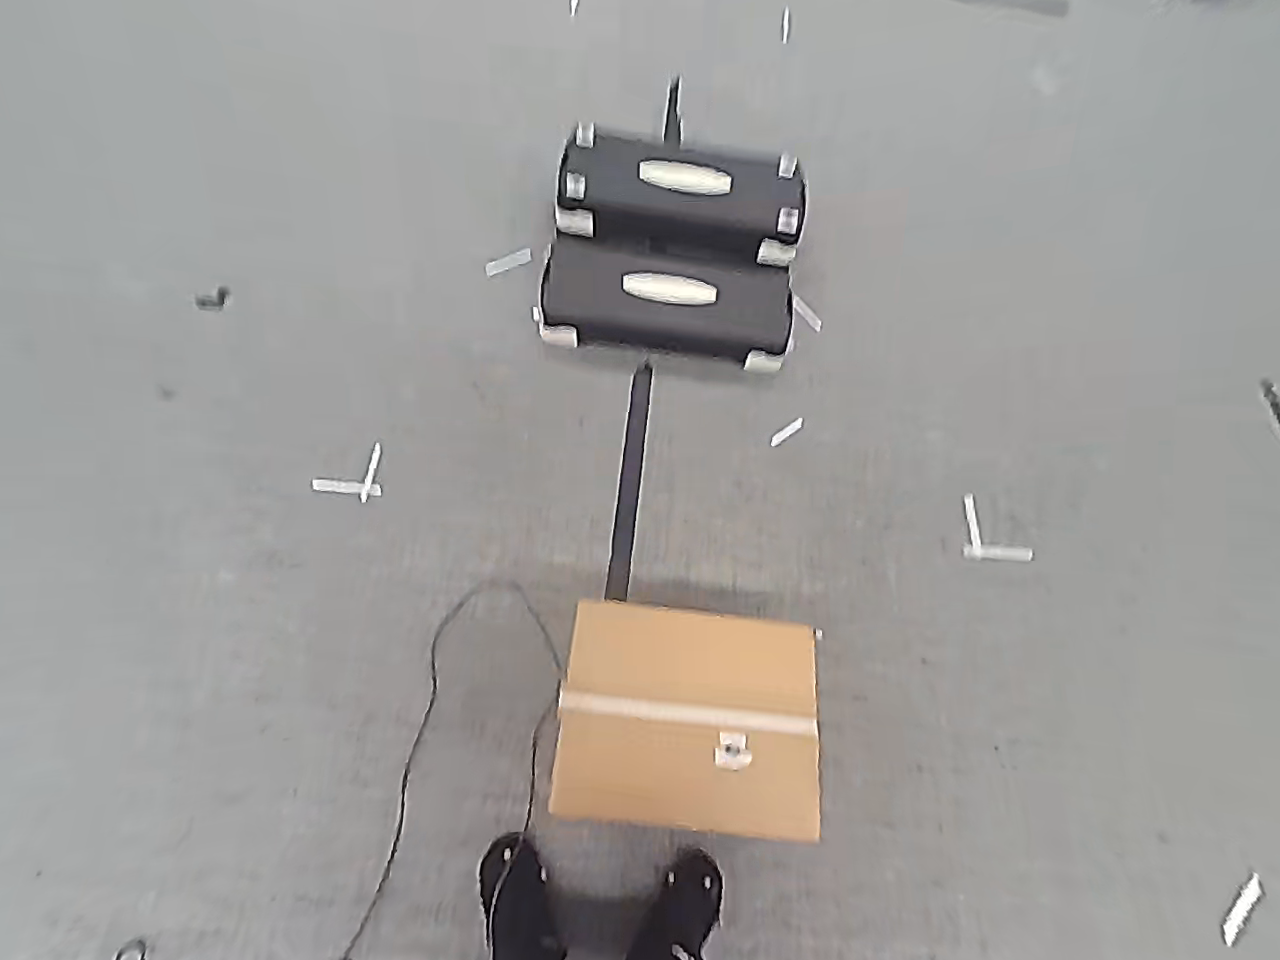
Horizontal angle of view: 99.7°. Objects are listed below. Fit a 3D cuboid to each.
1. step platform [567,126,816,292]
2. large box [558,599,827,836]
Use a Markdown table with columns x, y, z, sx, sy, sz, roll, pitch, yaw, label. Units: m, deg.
| x | y | z | sx | sy | sz | roll | pitch | yaw | label |
| --- | --- | --- | --- | --- | --- | --- | --- | --- | --- |
| 0.144 | -0.766 | 1.531 | 0.684 | 0.204 | 0.286 | 13 | 67 | -1 | step platform |
| 0.074 | 0.415 | 0.971 | 0.408 | 0.320 | 0.320 | 8 | 67 | -3 | large box |
